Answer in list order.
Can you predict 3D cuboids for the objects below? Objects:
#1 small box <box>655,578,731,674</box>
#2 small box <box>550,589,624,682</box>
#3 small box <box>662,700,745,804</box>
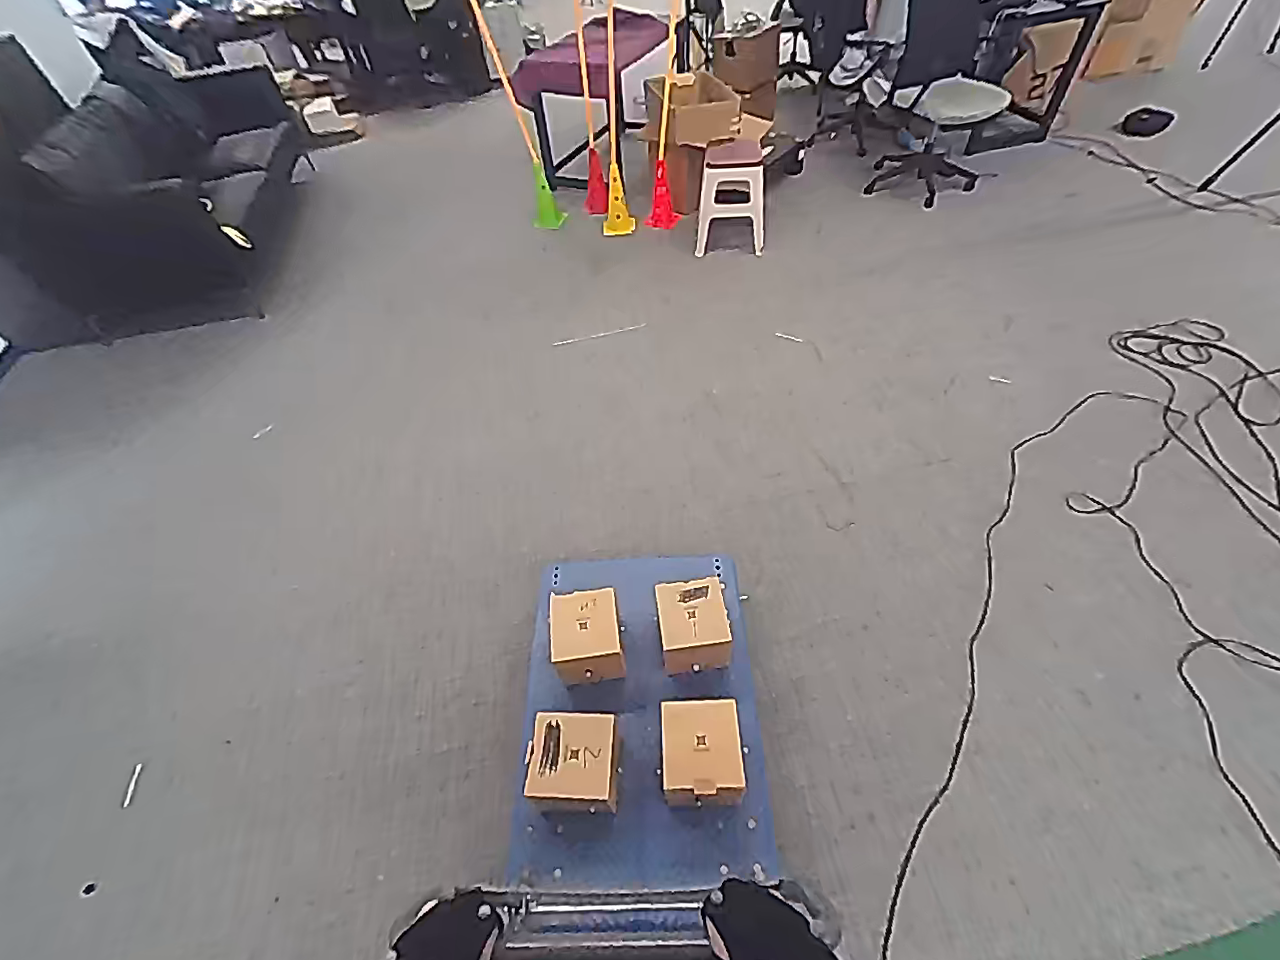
[{"bbox_3d":[0.130,0.375,1.385,0.168,0.176,0.179,-7,51,-1],"label":"small box"},{"bbox_3d":[-0.135,0.403,1.383,0.168,0.176,0.179,-7,50,-2],"label":"small box"},{"bbox_3d":[0.132,0.604,1.198,0.168,0.176,0.179,-3,51,2],"label":"small box"}]
